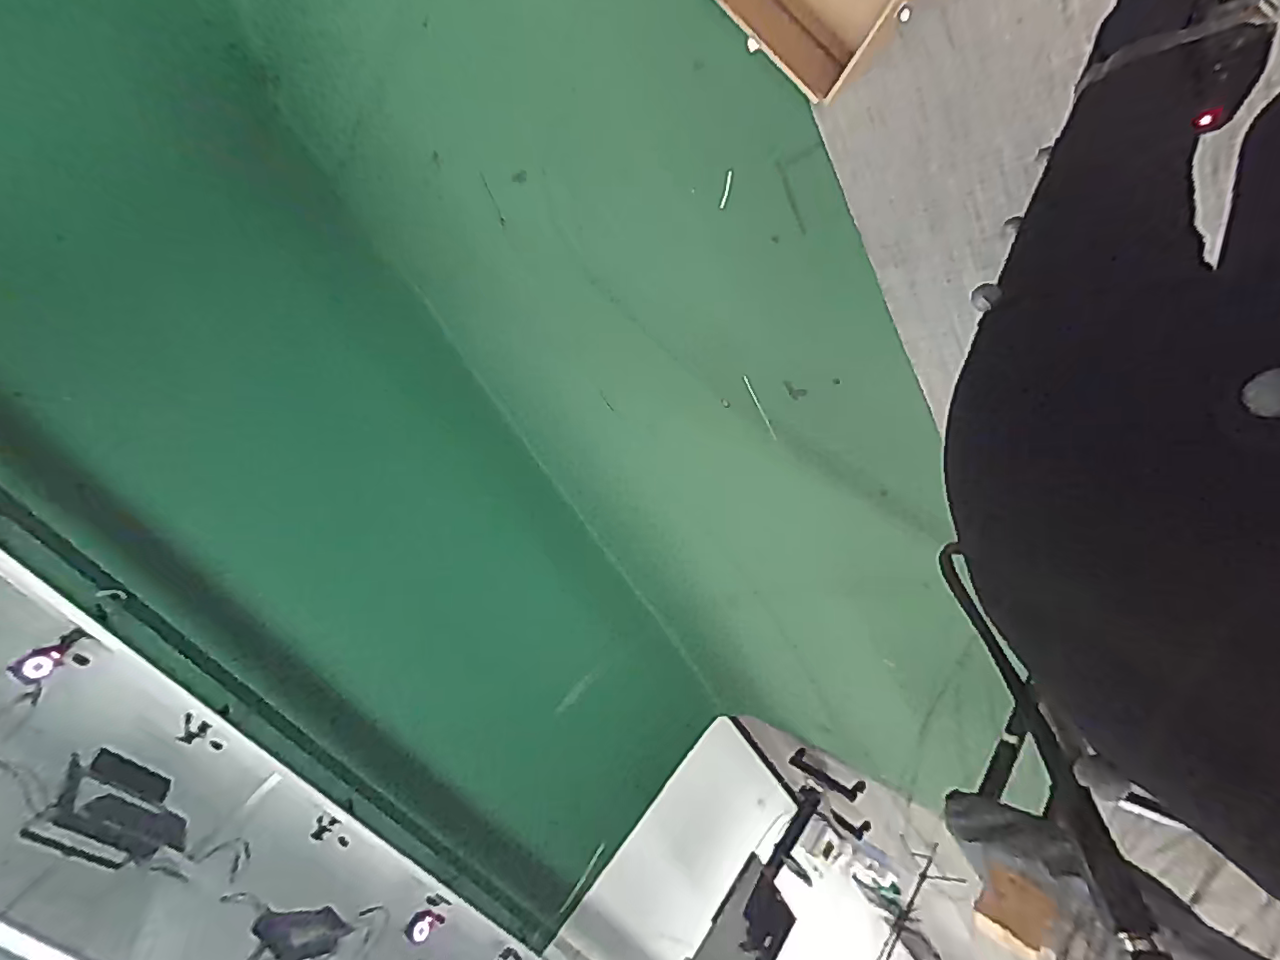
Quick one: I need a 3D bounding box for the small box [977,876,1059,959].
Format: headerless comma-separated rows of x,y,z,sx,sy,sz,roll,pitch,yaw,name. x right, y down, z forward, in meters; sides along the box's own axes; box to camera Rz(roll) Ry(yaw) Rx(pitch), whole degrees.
1.156,1.364,1.654,0.168,0.176,0.179,17,144,47,small box
